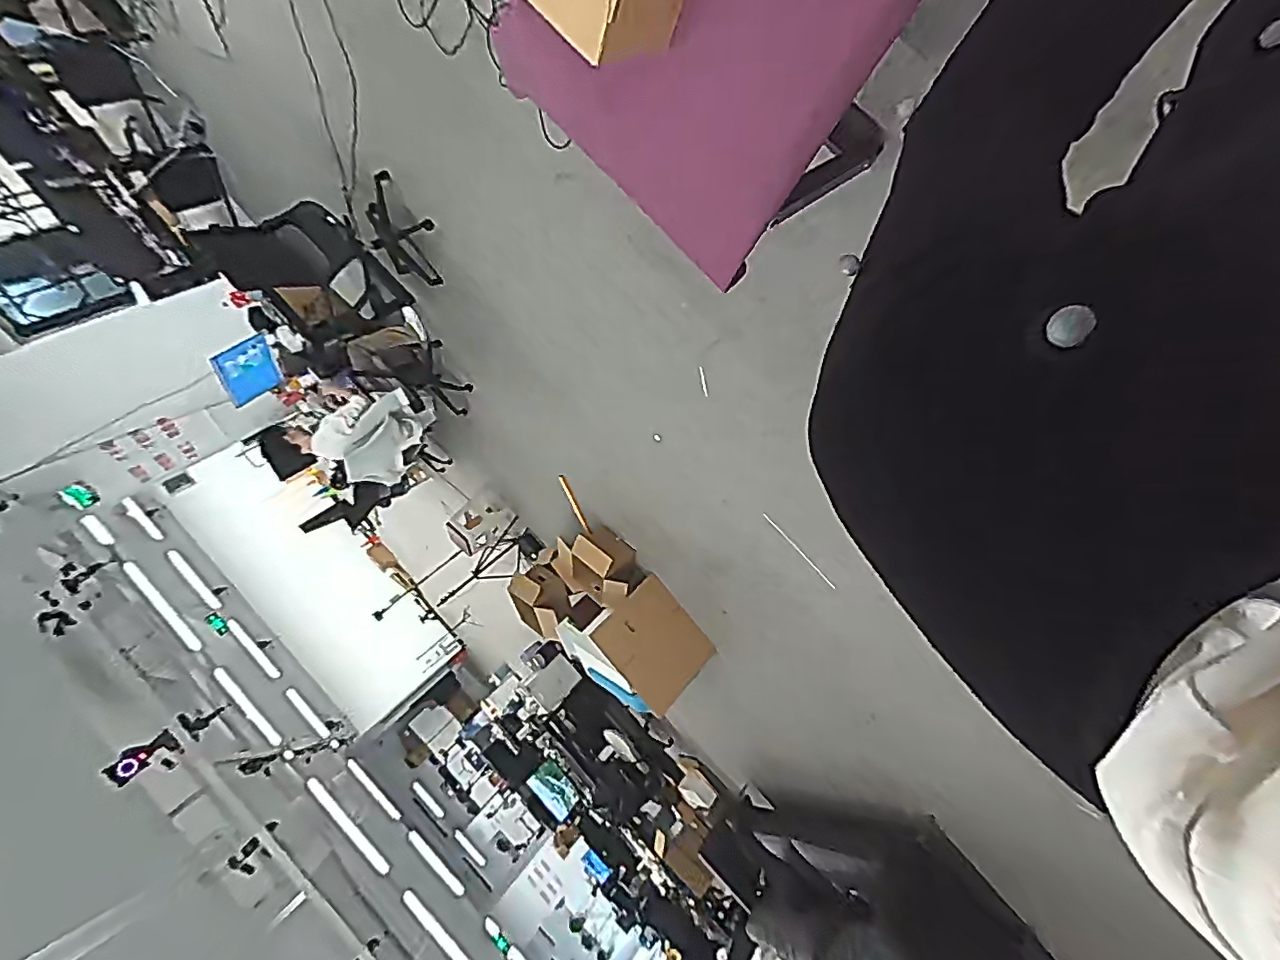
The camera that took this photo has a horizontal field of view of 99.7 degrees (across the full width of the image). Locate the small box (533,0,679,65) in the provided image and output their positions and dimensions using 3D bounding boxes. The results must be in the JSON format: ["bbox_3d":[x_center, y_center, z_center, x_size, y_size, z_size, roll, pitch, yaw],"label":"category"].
[{"bbox_3d":[-0.039,-0.747,0.772,0.179,0.176,0.168,47,148,3],"label":"small box"}]
